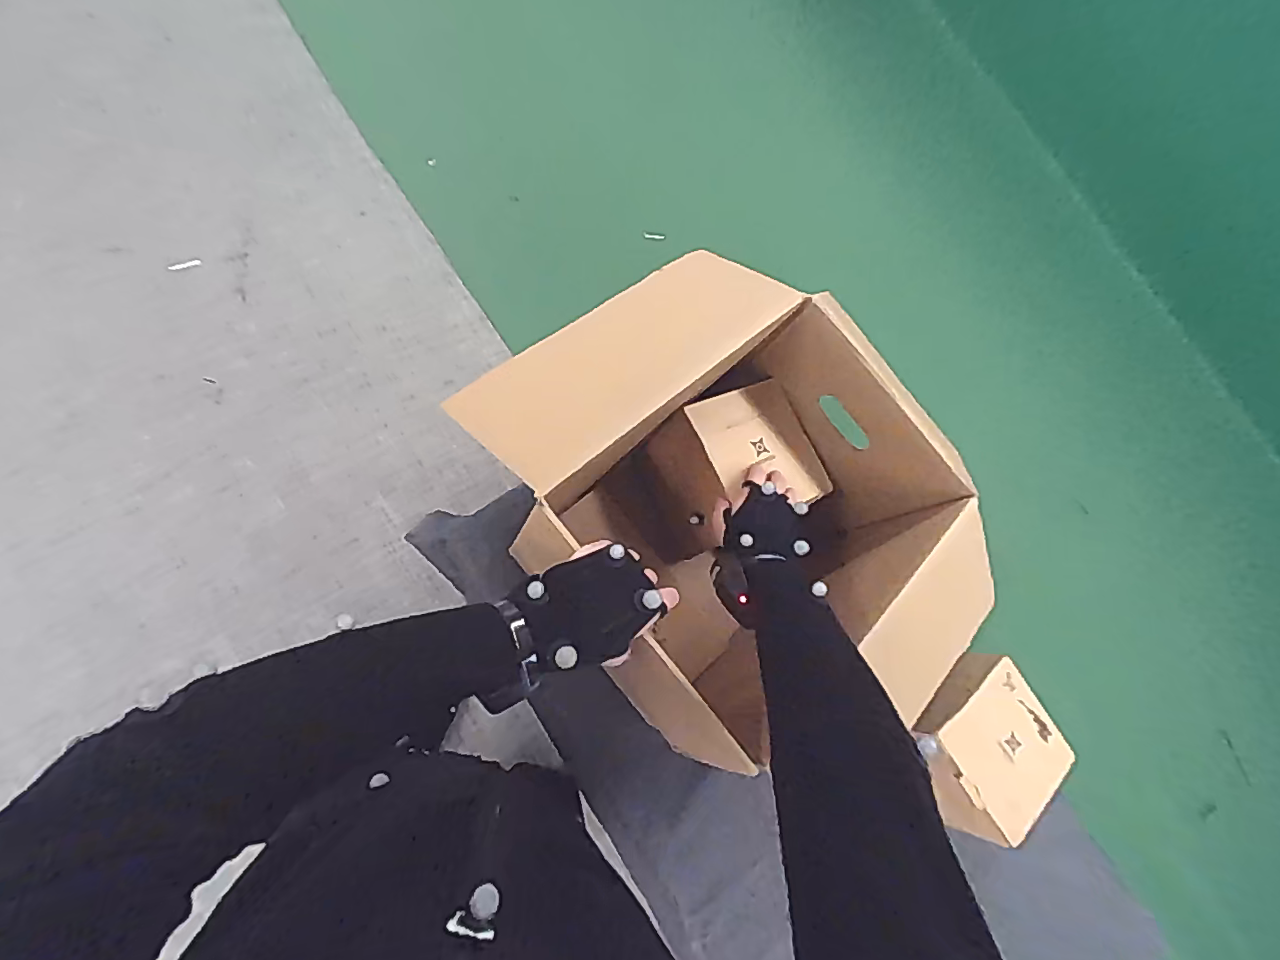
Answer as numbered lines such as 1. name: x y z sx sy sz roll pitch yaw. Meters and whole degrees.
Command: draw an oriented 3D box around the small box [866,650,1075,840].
1. small box: 0.464 0.368 0.789 0.179 0.176 0.168 -29 85 -22
